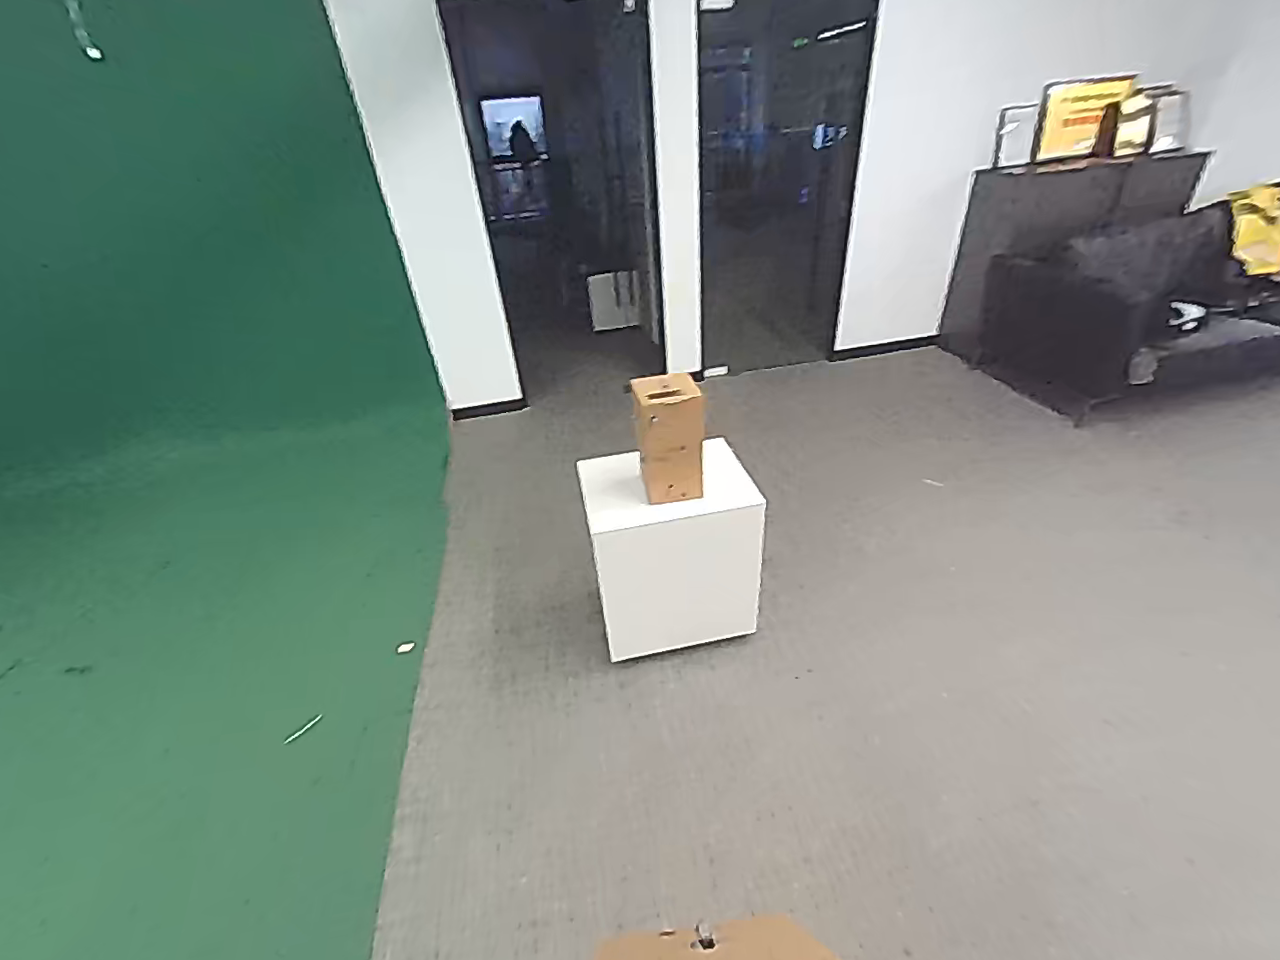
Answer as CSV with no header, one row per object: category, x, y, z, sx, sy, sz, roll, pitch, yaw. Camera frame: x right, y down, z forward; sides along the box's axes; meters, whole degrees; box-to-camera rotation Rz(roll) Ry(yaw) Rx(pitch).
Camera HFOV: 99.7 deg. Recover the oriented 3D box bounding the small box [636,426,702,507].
small box,0.084,-0.042,1.605,0.168,0.176,0.179,-8,33,-5
